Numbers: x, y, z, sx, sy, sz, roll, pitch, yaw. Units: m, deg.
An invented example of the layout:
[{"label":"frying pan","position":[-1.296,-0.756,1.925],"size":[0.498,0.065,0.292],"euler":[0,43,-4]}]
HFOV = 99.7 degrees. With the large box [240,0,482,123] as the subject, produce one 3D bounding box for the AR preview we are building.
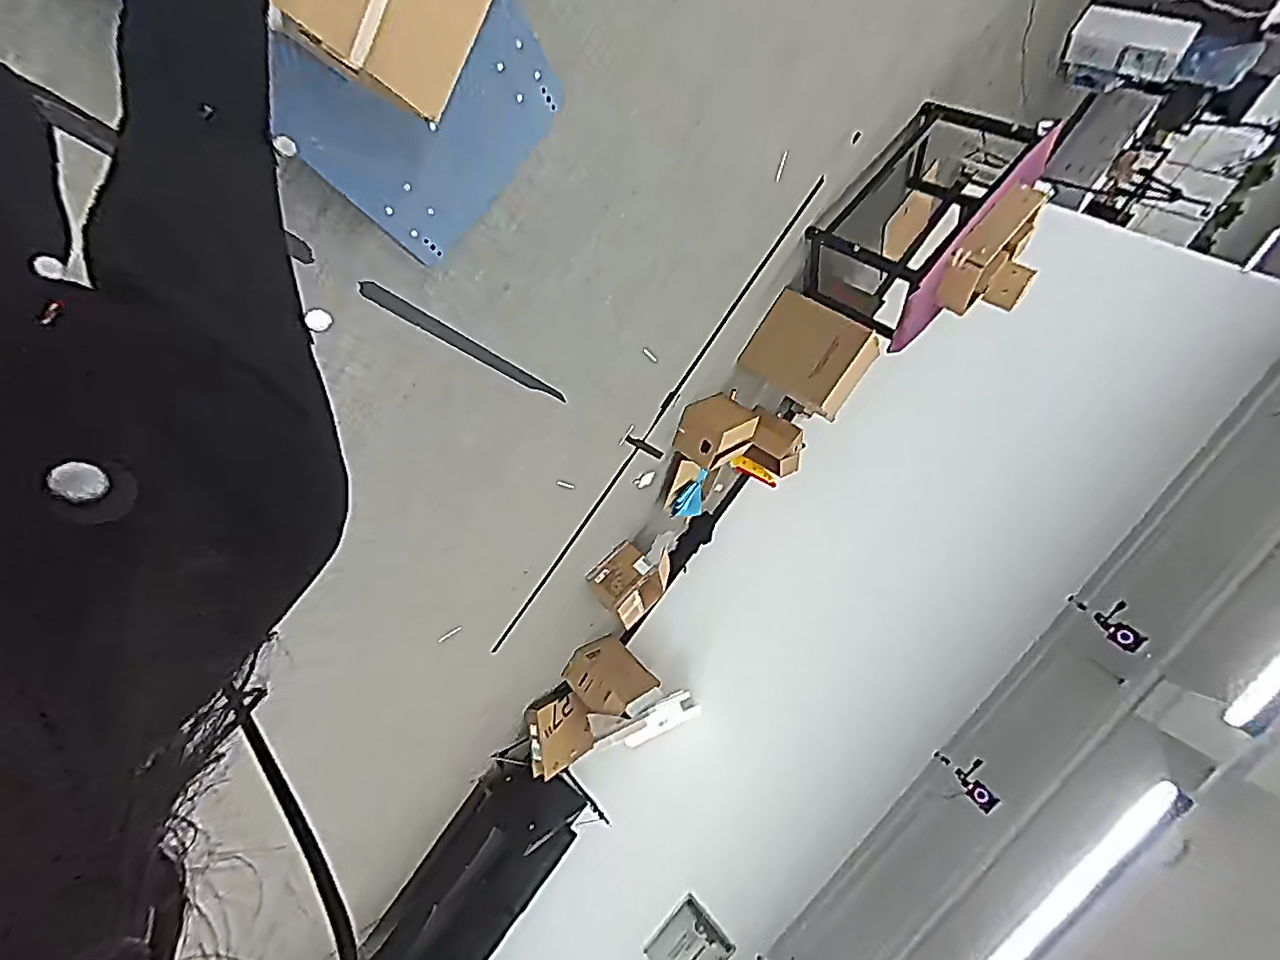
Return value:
[{"label":"large box","position":[-0.448,-0.881,0.831],"size":[0.408,0.320,0.320],"euler":[-57,153,14]}]
